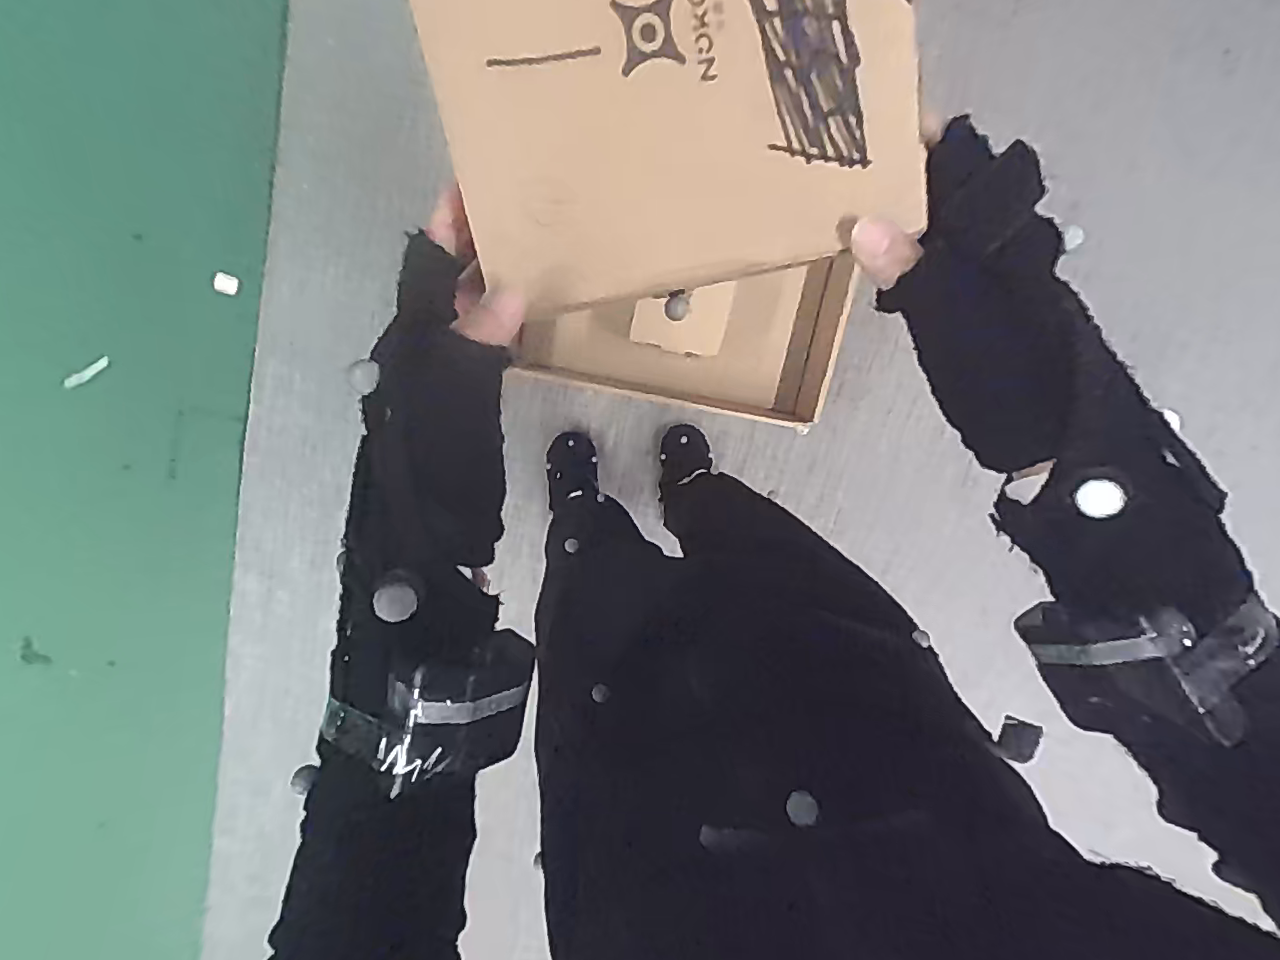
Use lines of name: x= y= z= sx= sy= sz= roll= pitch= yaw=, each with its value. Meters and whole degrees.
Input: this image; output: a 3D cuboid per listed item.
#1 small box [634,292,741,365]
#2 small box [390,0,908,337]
small box: x=0.088 y=-0.323 z=1.027 sx=0.168 sy=0.176 sz=0.179 roll=13 pitch=101 yaw=-3
small box: x=0.005 y=-0.173 z=0.267 sx=0.179 sy=0.176 sz=0.168 roll=-10 pitch=107 yaw=3
